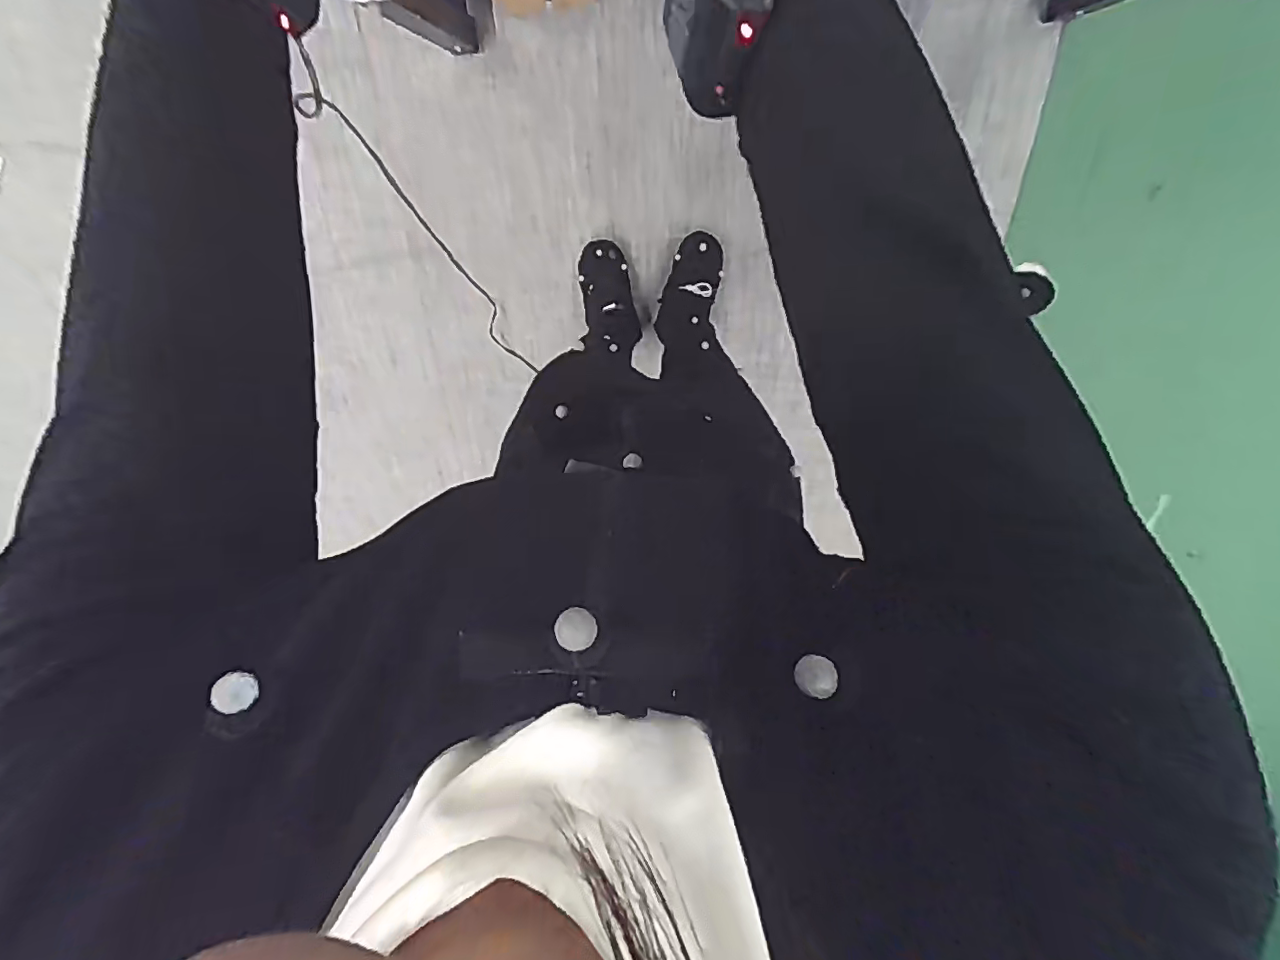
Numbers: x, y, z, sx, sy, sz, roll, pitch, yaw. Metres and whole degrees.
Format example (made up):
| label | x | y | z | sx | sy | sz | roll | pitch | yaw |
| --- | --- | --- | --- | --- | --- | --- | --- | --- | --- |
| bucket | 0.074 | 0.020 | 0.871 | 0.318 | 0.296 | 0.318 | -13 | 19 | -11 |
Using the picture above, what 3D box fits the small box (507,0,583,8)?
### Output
| label | x | y | z | sx | sy | sz | roll | pitch | yaw |
| --- | --- | --- | --- | --- | --- | --- | --- | --- | --- |
| small box | -0.169 | -0.927 | 0.909 | 0.168 | 0.176 | 0.179 | -6 | 121 | 4 |
